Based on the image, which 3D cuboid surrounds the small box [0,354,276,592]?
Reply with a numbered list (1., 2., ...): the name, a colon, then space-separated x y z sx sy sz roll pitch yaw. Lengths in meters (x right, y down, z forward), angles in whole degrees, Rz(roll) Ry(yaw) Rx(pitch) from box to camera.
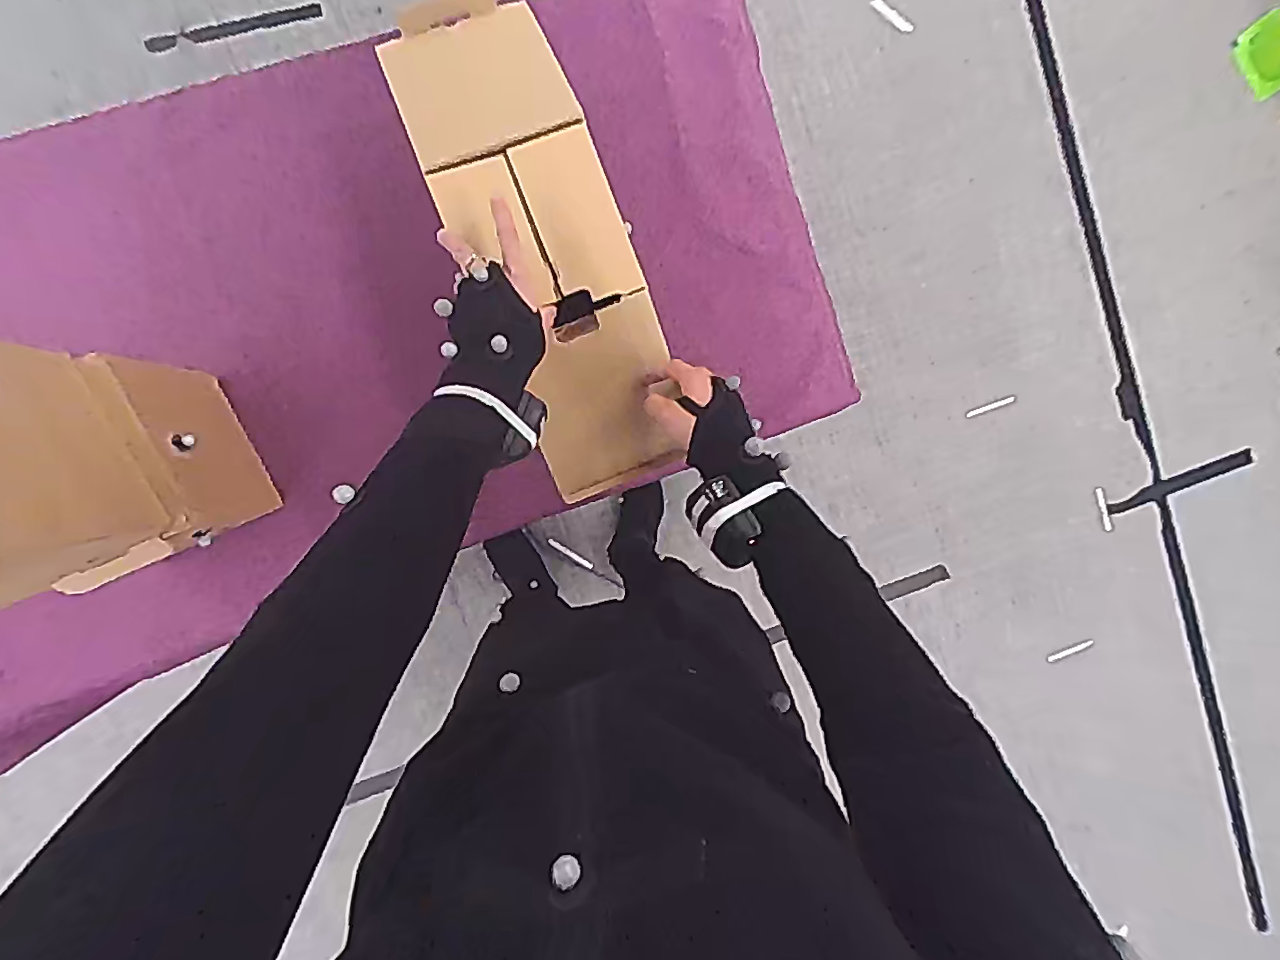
1. small box: -0.535 -0.012 0.570 0.168 0.176 0.179 -24 97 -5
